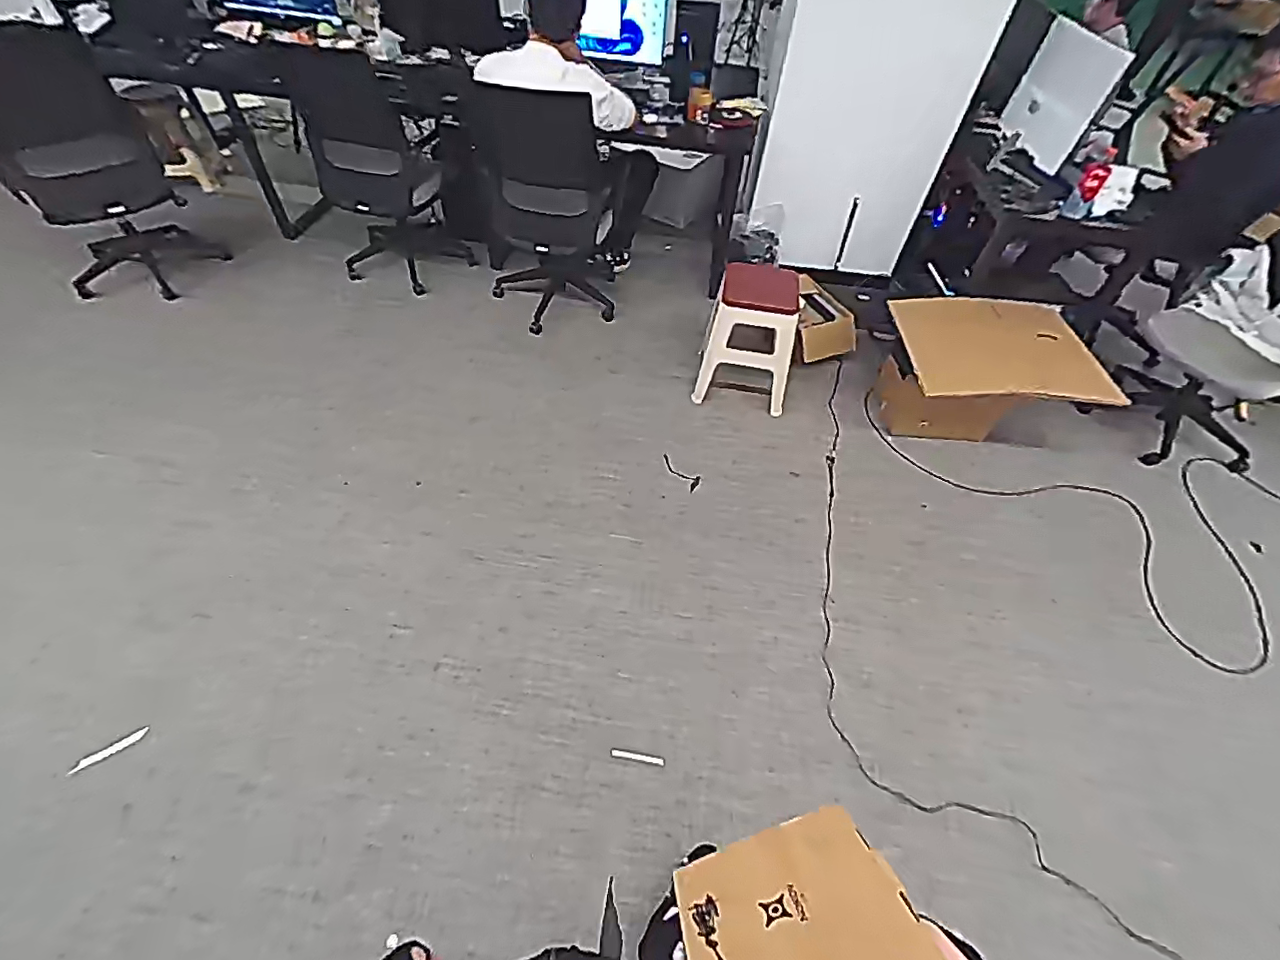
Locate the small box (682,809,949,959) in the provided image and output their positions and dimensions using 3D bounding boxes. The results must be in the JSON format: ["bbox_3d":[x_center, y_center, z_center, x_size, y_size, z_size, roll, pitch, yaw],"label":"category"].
[{"bbox_3d":[0.151,0.430,0.452,0.179,0.168,0.176,-19,92,-3],"label":"small box"}]
